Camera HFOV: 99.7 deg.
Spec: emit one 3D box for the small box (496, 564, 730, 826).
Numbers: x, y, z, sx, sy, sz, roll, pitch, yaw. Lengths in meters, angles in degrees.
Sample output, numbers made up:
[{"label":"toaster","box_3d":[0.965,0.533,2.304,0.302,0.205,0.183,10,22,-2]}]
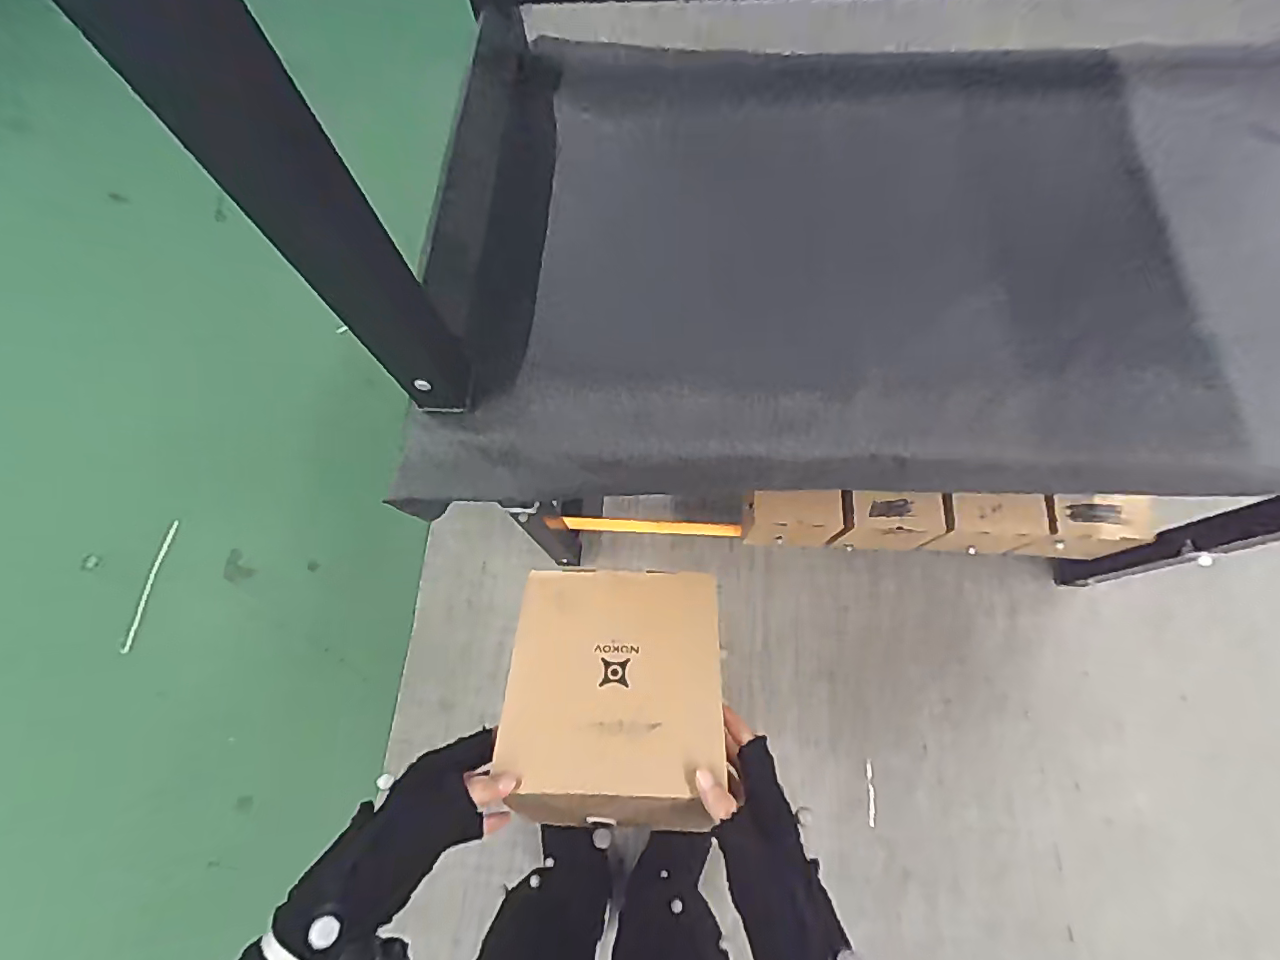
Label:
[{"label":"small box","box_3d":[-0.015,0.193,0.485,0.168,0.176,0.179,0,50,2]}]
